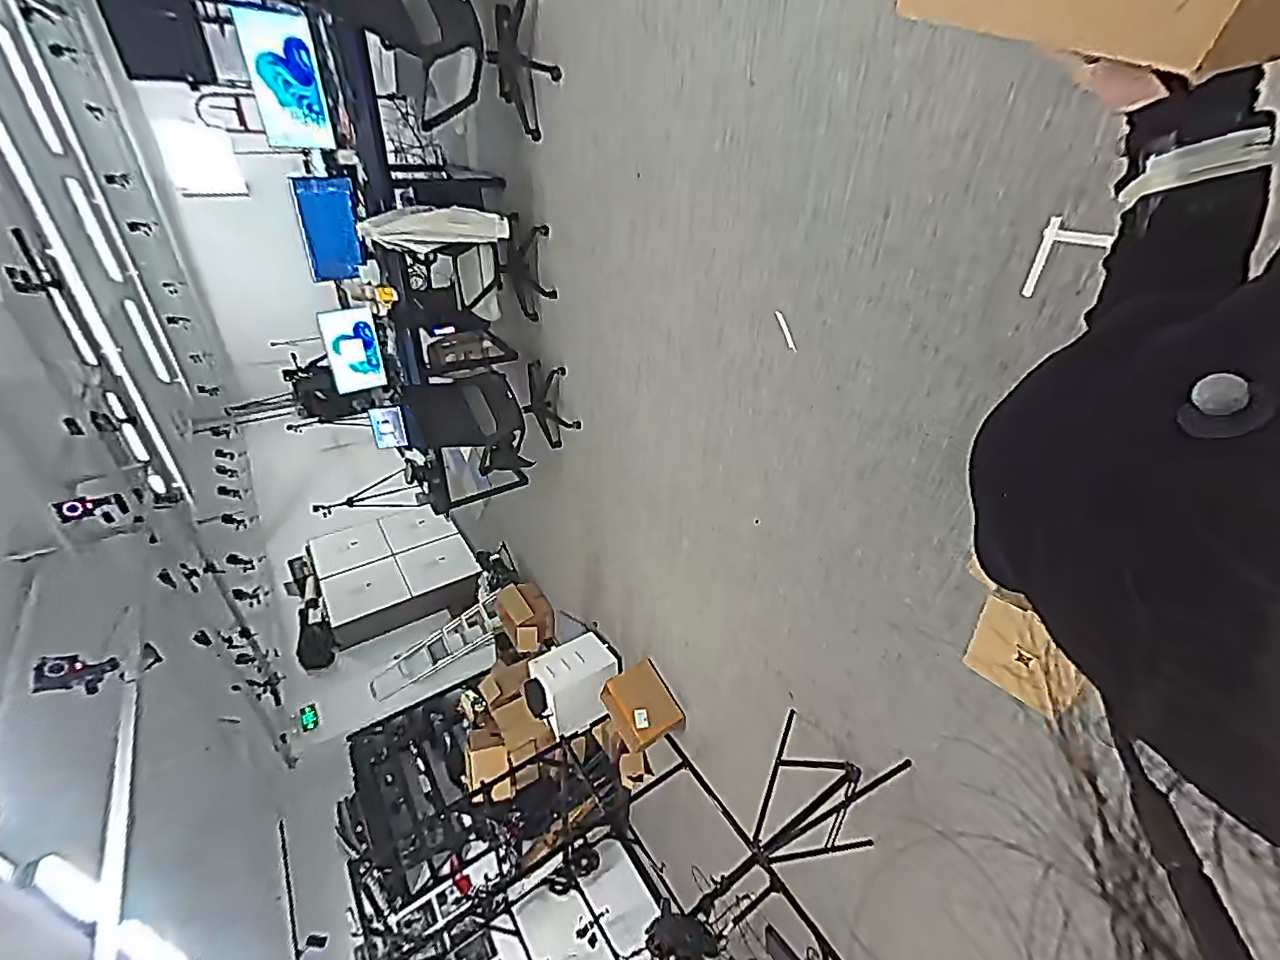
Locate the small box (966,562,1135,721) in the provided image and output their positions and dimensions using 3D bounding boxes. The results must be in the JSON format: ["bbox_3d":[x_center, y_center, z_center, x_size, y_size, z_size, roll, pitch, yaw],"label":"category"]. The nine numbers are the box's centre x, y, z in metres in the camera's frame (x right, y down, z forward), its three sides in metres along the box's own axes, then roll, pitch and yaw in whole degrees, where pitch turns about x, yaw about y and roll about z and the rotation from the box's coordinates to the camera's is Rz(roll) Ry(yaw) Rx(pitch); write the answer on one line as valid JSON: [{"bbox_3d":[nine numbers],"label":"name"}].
[{"bbox_3d":[0.719,0.272,0.951,0.168,0.176,0.179,34,135,47],"label":"small box"}]
